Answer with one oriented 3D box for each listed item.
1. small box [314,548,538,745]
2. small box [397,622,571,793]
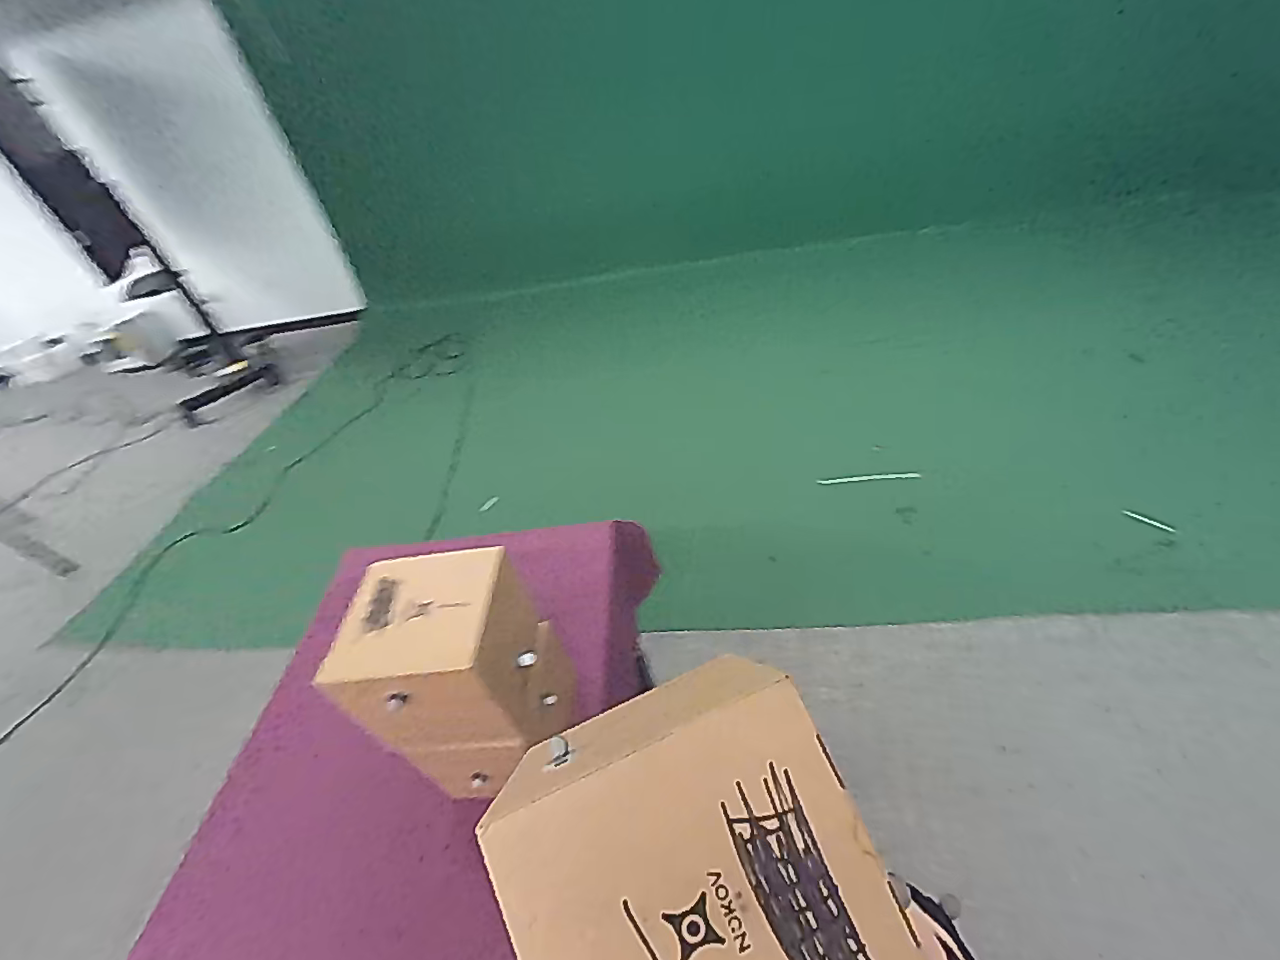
[{"bbox_3d":[-0.244,0.208,0.666,0.179,0.176,0.168,-8,41,7],"label":"small box"},{"bbox_3d":[-0.204,0.328,0.771,0.168,0.176,0.179,-6,41,9],"label":"small box"}]
